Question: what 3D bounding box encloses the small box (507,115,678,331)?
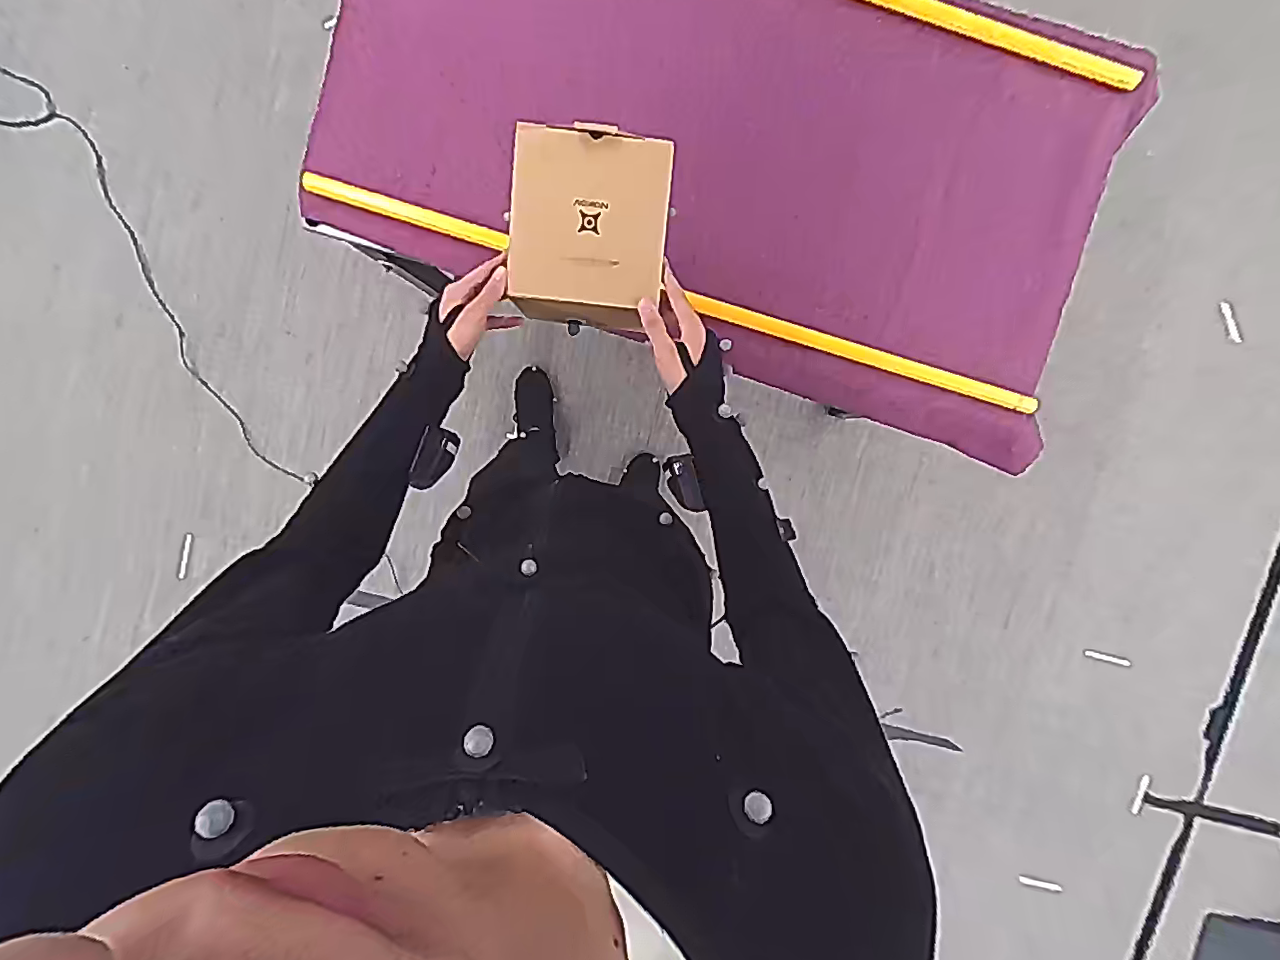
[{"bbox_3d":[-0.056,-0.287,0.642,0.168,0.176,0.179,5,96,-4],"label":"small box"}]
